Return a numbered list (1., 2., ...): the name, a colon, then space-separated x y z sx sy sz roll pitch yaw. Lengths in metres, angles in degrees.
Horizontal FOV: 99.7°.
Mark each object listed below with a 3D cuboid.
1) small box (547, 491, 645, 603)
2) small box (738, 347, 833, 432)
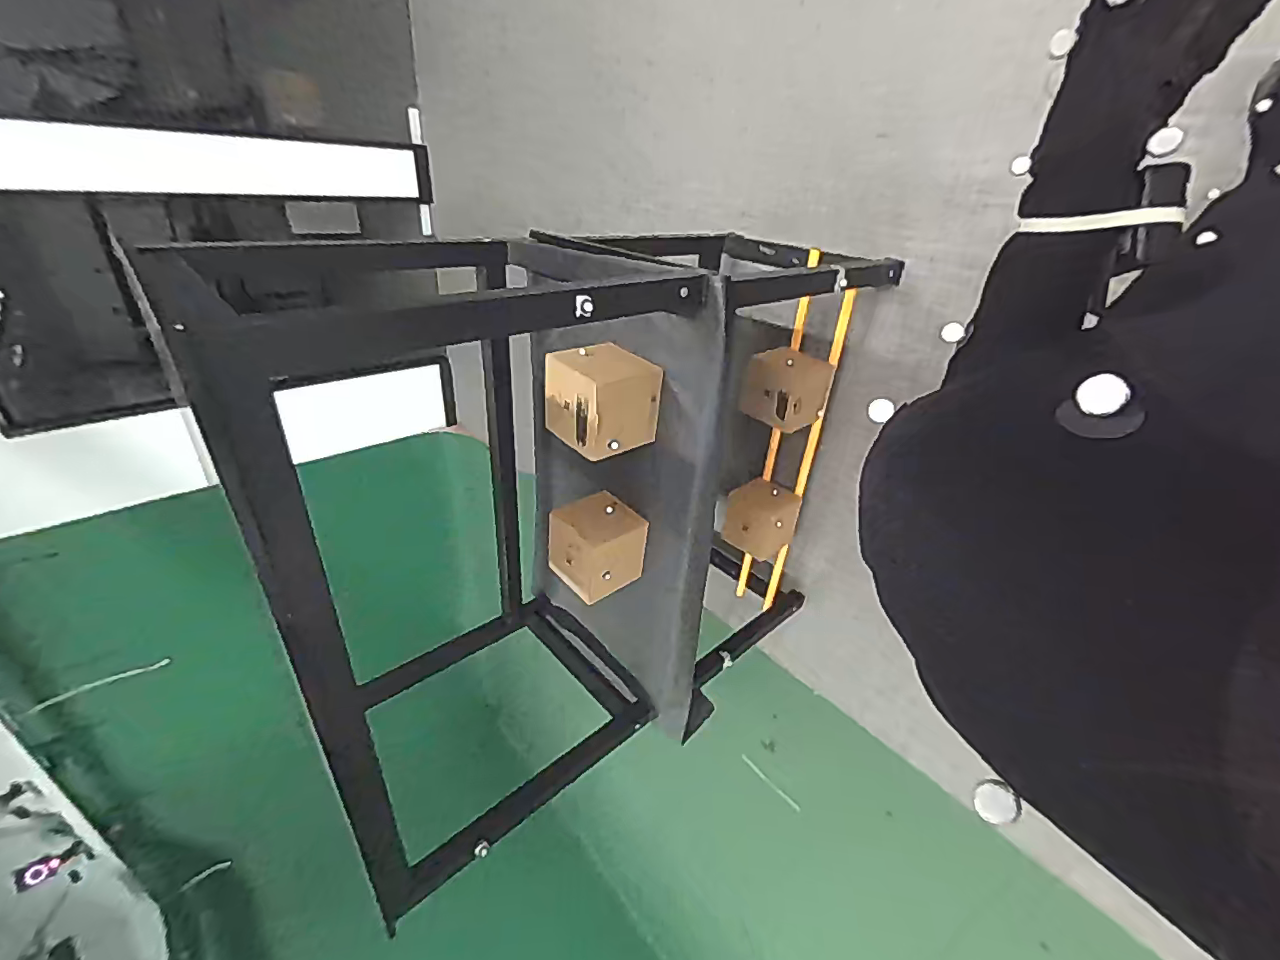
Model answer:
1. small box: -0.105 0.154 1.294 0.168 0.176 0.179 34 132 35
2. small box: 0.405 -0.258 1.500 0.179 0.176 0.168 35 131 35
